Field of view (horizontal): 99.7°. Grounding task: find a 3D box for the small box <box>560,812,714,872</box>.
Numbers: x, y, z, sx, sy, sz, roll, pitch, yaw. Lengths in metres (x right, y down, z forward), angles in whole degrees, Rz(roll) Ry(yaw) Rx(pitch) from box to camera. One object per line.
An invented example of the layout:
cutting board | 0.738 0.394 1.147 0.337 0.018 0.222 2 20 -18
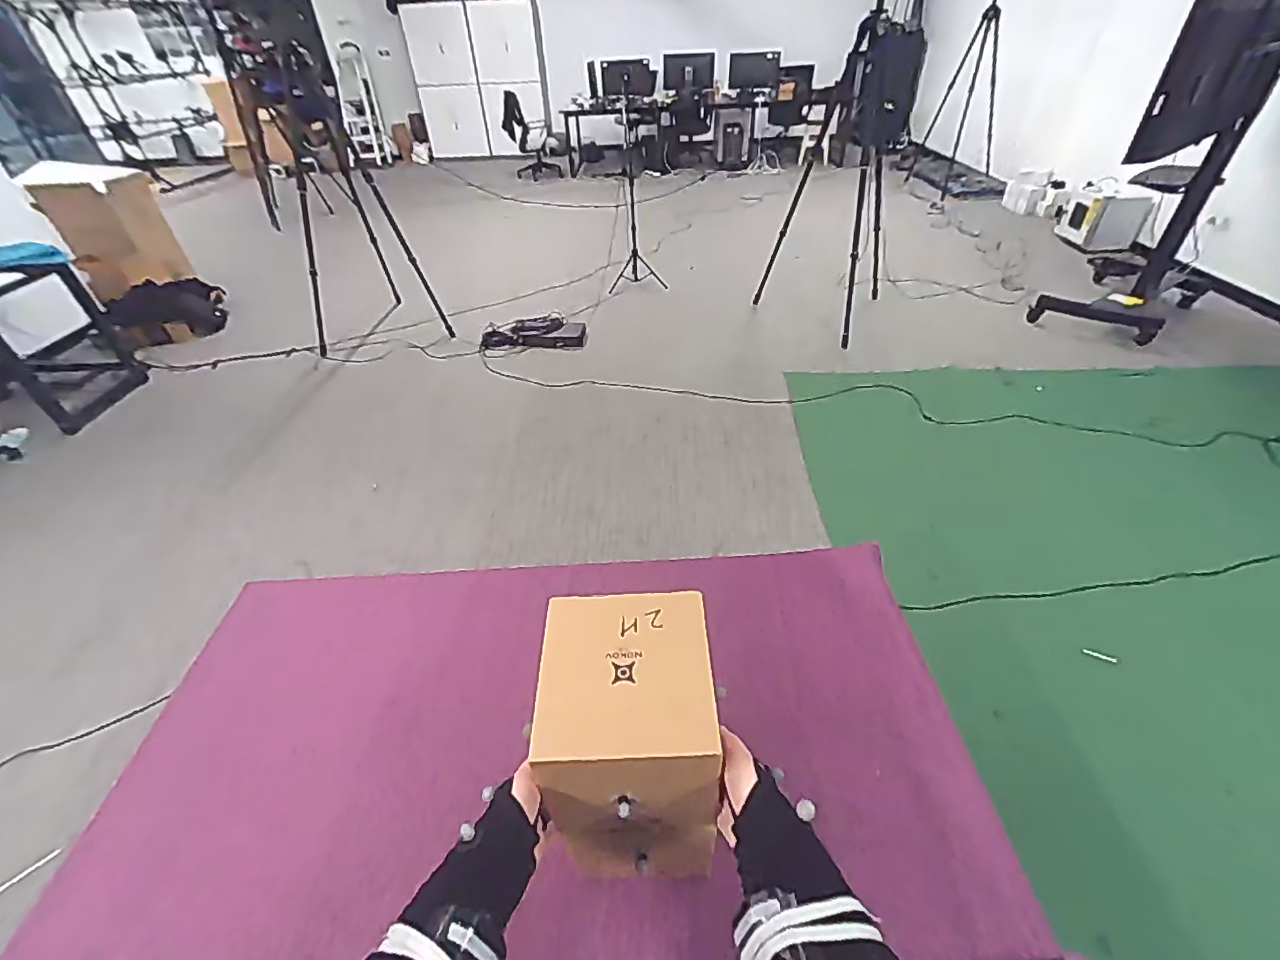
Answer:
small box | 0.001 0.369 0.676 0.168 0.176 0.179 -2 41 1

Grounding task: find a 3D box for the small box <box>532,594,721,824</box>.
small box | -0.008 0.243 0.569 0.168 0.176 0.179 -2 40 1
